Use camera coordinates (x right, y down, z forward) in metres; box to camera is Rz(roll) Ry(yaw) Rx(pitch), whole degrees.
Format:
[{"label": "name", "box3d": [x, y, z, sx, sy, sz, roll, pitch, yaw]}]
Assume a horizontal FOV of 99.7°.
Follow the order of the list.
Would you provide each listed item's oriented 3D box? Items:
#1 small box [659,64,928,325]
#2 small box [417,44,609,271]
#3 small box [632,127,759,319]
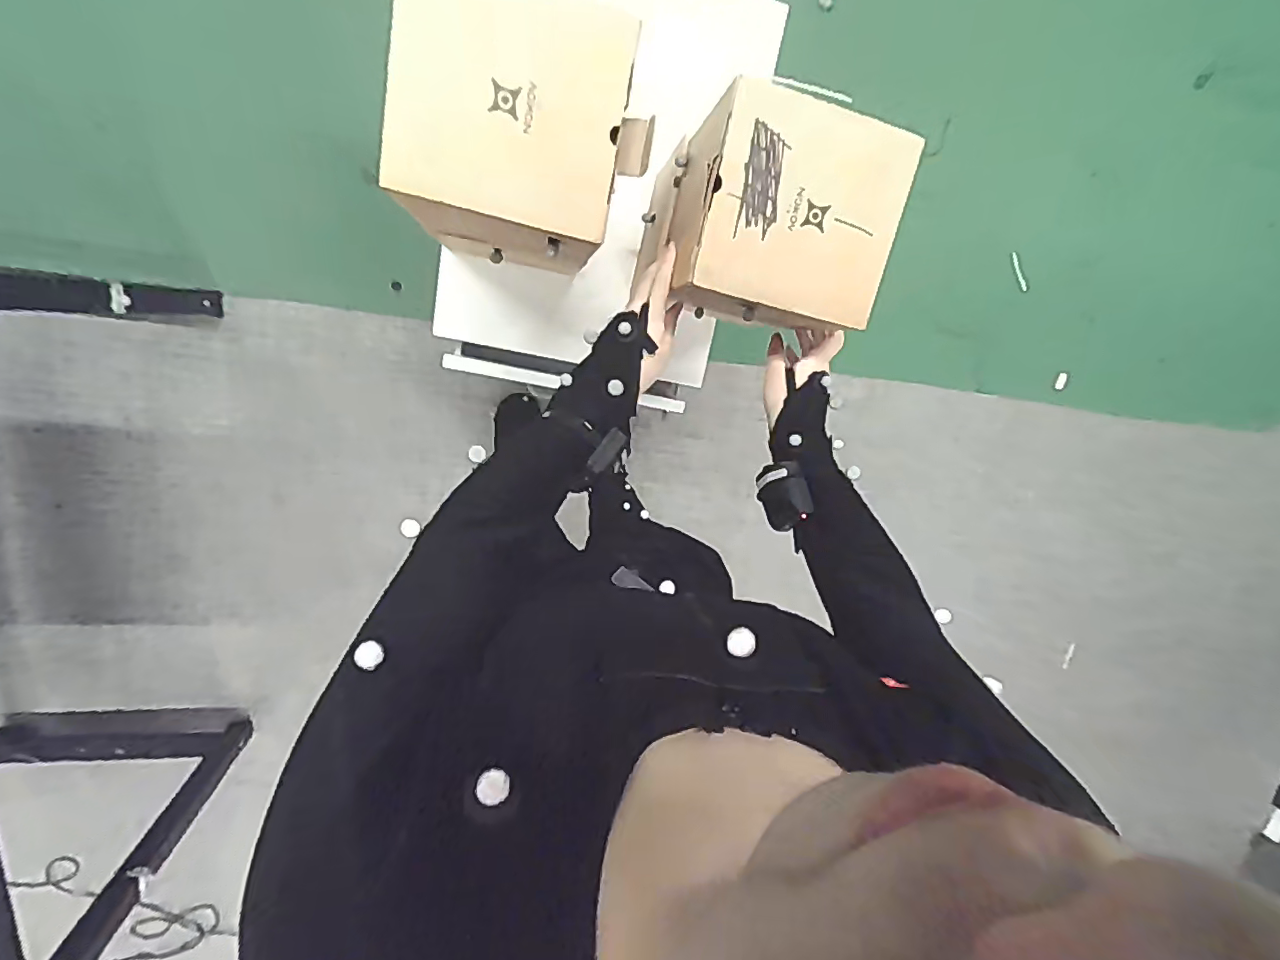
[{"label": "small box", "box3d": [0.128, -0.253, 0.529, 0.179, 0.176, 0.168, 10, 105, -13]}, {"label": "small box", "box3d": [-0.144, -0.350, 0.627, 0.179, 0.176, 0.168, 7, 104, -13]}, {"label": "small box", "box3d": [0.097, -0.304, 0.683, 0.179, 0.176, 0.168, 11, 105, -13]}]
